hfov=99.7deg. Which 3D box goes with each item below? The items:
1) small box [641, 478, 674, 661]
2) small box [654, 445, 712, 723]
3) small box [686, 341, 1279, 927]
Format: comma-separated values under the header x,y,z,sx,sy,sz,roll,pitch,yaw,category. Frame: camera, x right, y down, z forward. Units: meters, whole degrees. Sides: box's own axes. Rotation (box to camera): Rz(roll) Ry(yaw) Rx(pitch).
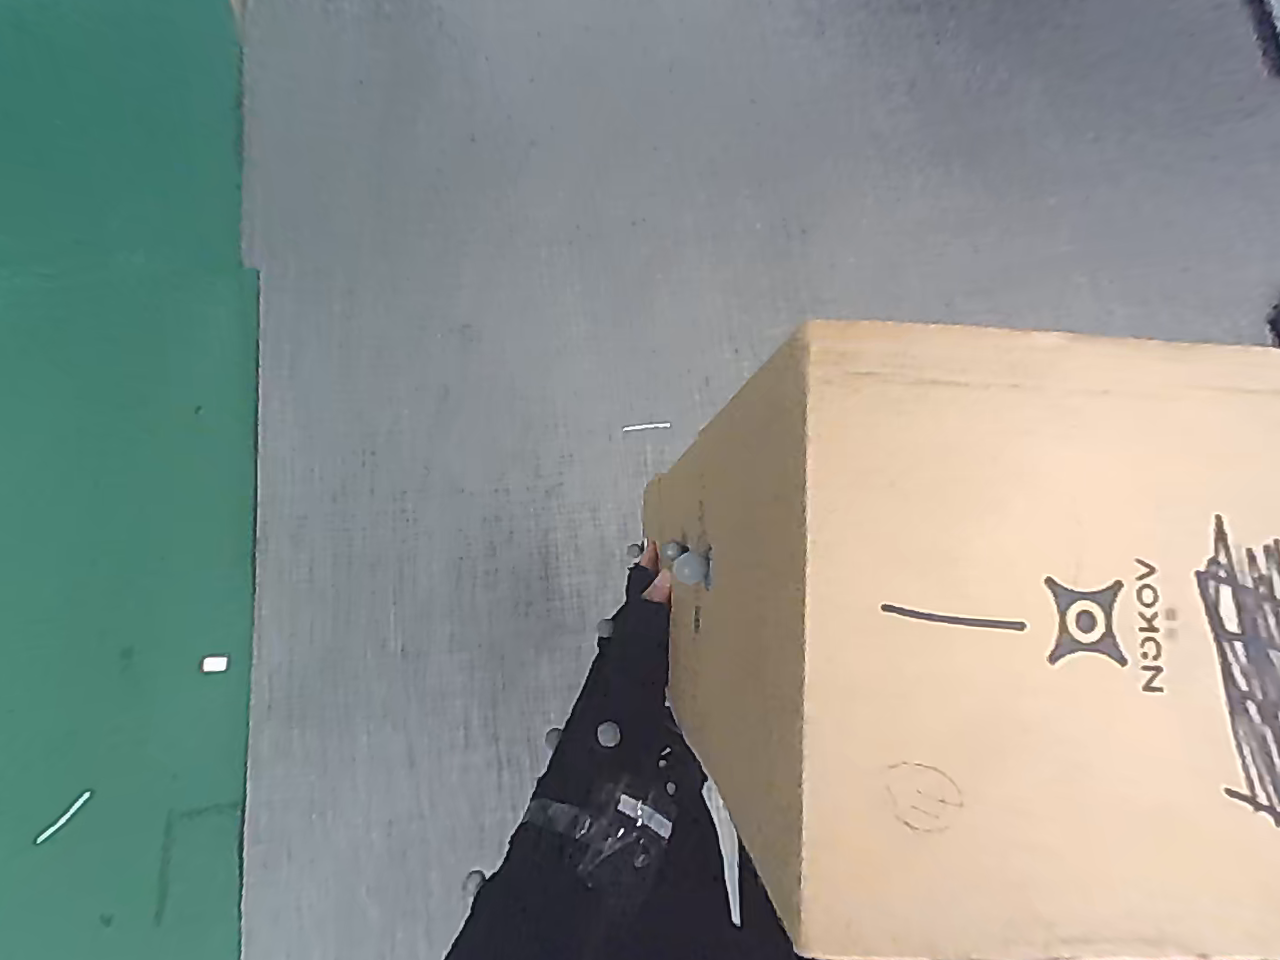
x,y,z,sx,sy,sz,roll,pitch,yaw,category
0.094,0.090,0.569,0.179,0.176,0.168,0,82,-3,small box
0.109,0.073,0.406,0.179,0.176,0.168,2,82,-5,small box
0.124,0.049,0.243,0.179,0.176,0.168,0,83,-6,small box
